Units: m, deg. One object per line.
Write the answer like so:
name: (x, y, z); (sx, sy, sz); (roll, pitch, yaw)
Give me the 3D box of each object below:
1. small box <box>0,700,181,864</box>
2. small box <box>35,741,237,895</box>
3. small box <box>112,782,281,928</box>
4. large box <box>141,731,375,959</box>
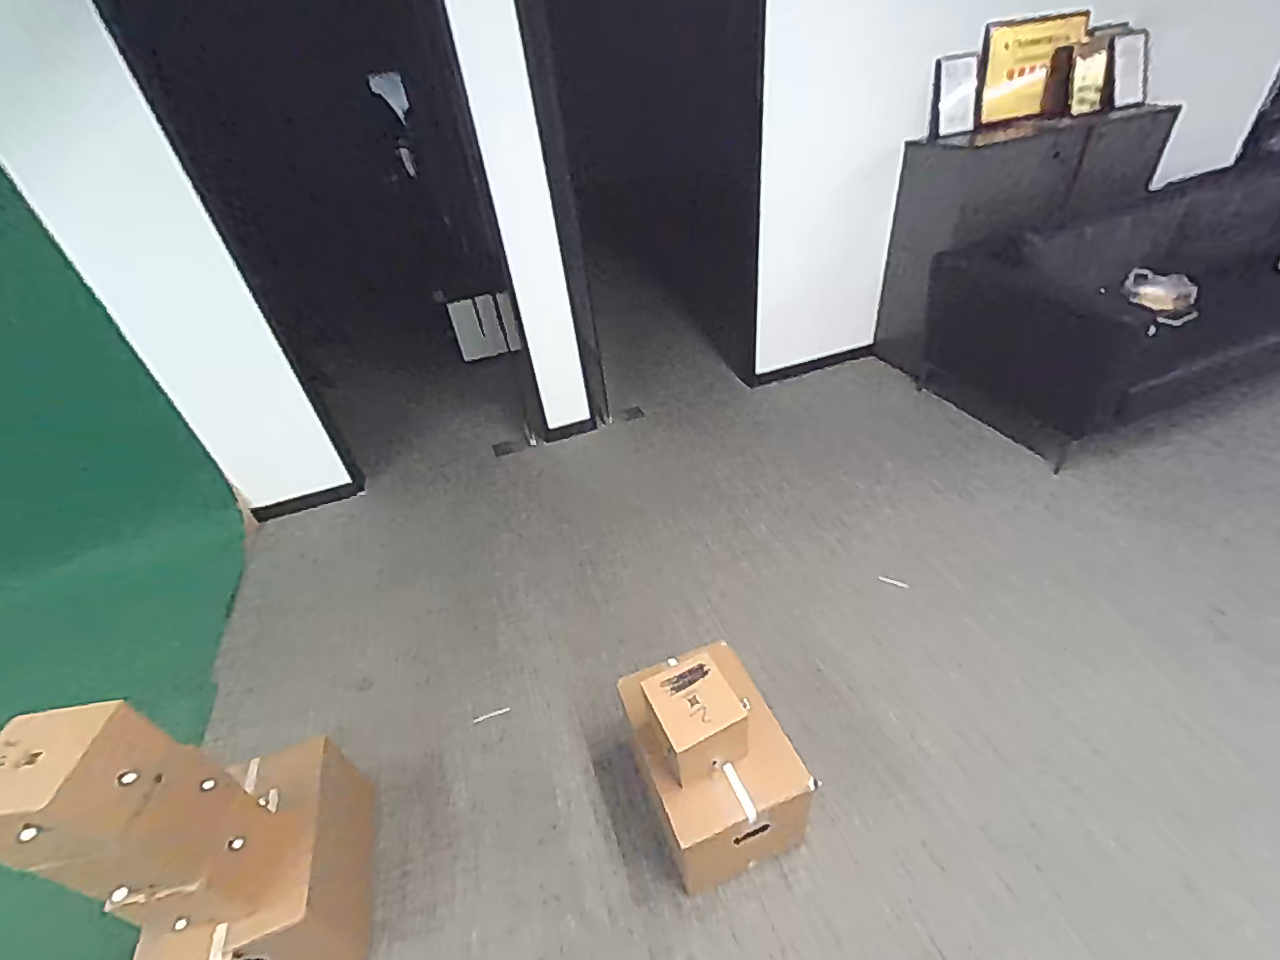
small box: (-0.897, 0.478, 0.857); (0.179, 0.176, 0.168); (-9, 38, 0)
small box: (-0.871, 0.601, 0.963); (0.168, 0.176, 0.179); (-10, 39, -1)
small box: (-0.845, 0.731, 1.057); (0.168, 0.176, 0.179); (-11, 39, -4)
large box: (-0.830, 0.890, 1.247); (0.320, 0.320, 0.408); (-18, 38, -13)
